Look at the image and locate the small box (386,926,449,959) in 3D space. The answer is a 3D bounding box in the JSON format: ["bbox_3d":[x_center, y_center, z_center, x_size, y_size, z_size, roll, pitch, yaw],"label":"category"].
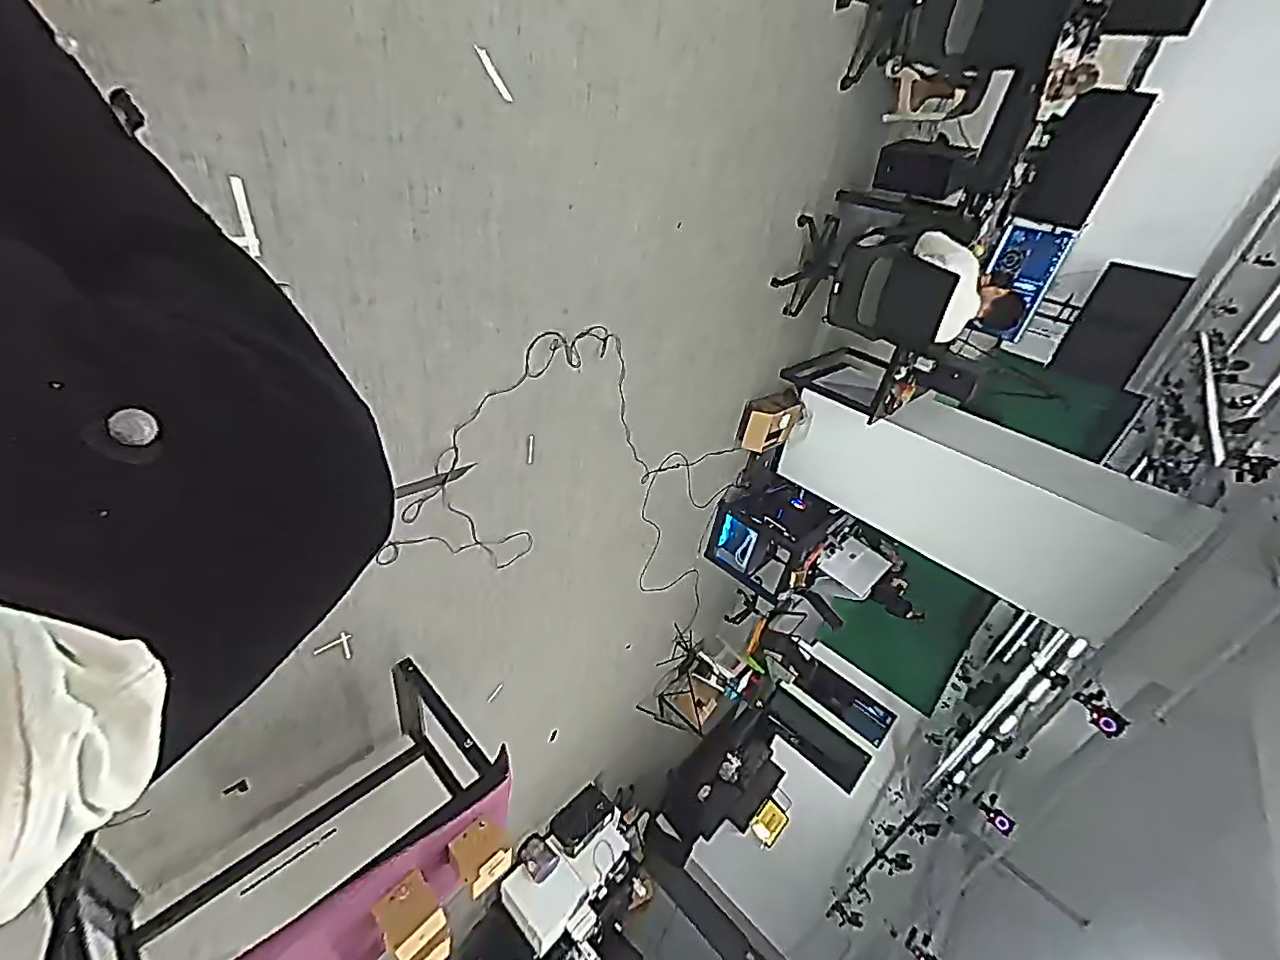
[{"bbox_3d":[-0.830,1.726,2.015,0.168,0.176,0.179,-22,135,-43],"label":"small box"}]

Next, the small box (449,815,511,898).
[{"bbox_3d":[-0.605,1.410,2.040,0.168,0.176,0.179,-26,139,-40],"label":"small box"}]

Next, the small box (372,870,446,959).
[{"bbox_3d":[-0.792,1.494,1.857,0.168,0.176,0.179,-29,140,-39],"label":"small box"}]
